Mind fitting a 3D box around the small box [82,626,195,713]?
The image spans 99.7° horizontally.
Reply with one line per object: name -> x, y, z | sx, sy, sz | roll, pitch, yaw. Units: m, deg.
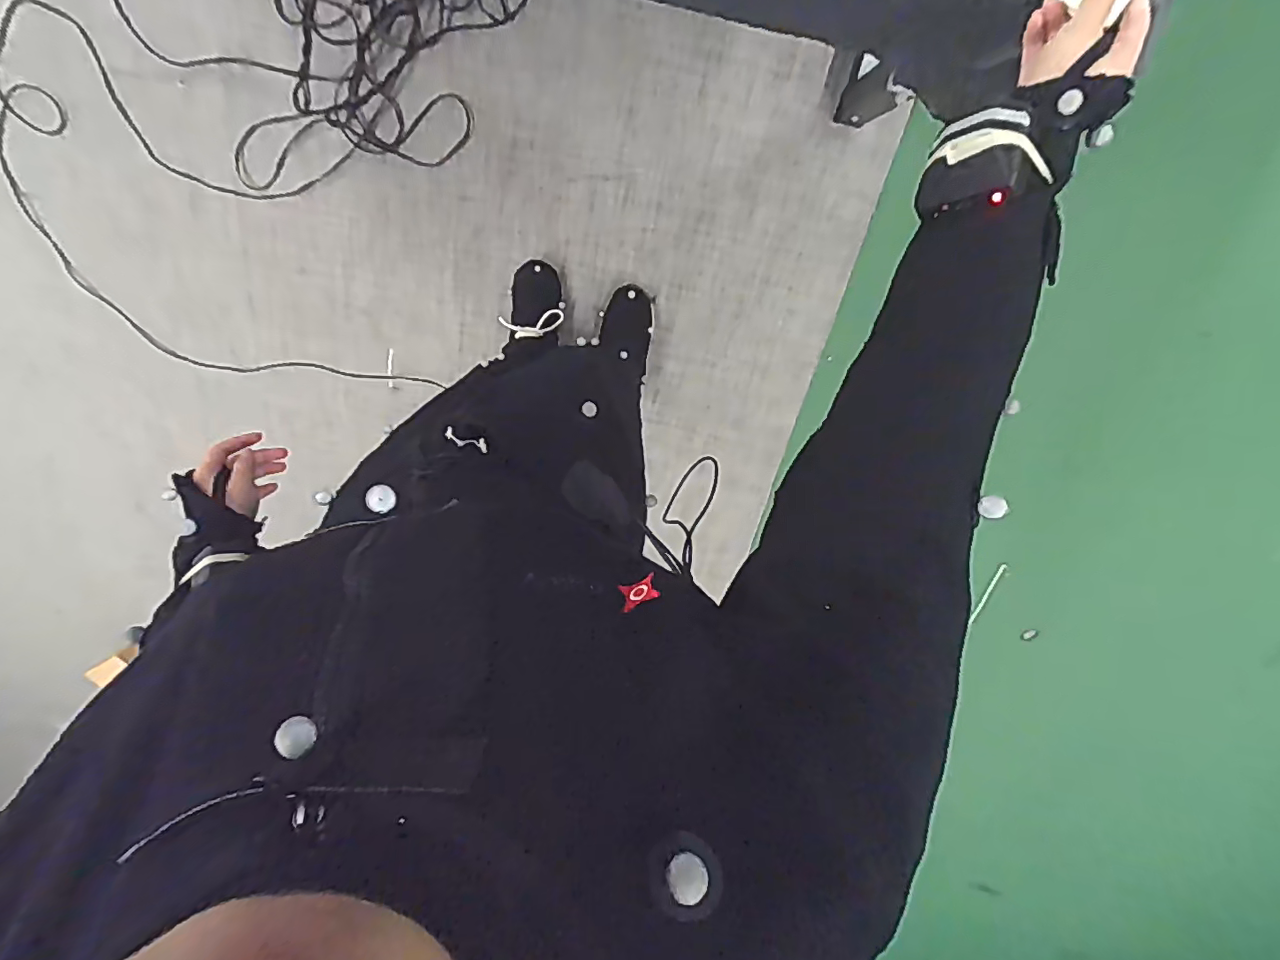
small box -> -1.598, 0.604, 1.735 | 0.179, 0.176, 0.168 | -28, 112, 16
